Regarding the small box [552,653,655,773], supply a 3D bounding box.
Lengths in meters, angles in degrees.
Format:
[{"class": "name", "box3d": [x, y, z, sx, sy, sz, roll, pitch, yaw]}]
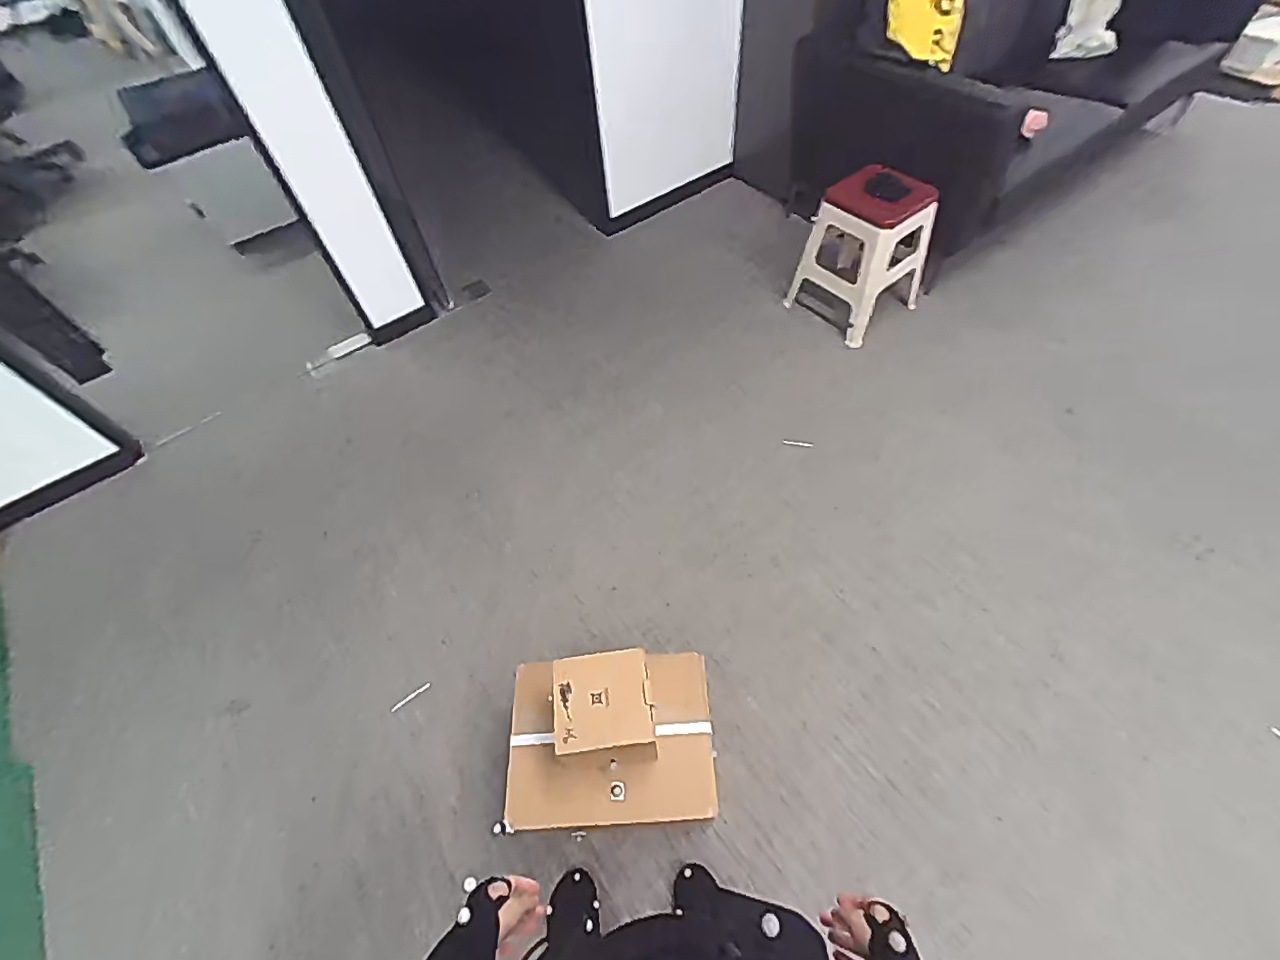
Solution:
[{"class": "small box", "box3d": [-0.067, 0.441, 1.021, 0.179, 0.176, 0.168, -6, 53, -2]}]
